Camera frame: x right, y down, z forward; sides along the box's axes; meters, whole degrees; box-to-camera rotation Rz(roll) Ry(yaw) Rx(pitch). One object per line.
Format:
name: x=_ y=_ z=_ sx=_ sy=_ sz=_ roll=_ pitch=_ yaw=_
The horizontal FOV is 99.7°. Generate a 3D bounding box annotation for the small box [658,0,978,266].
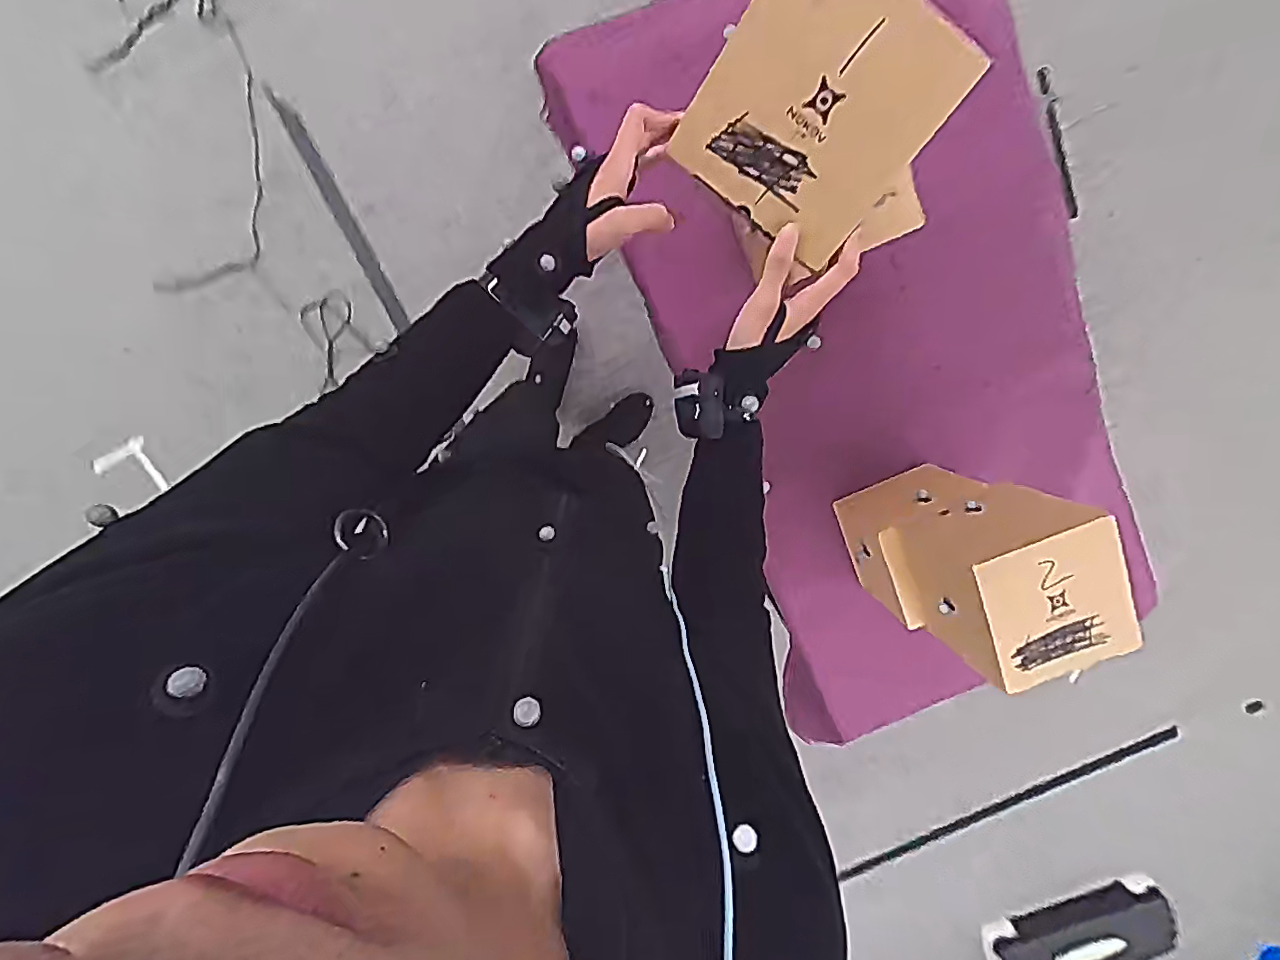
small box: x=0.140 y=-0.323 z=0.474 sx=0.168 sy=0.176 sz=0.179 roll=34 pitch=121 yaw=-10

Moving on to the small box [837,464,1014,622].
small box: x=0.432 y=0.089 z=0.852 sx=0.179 sy=0.176 sz=0.168 roll=-23 pitch=103 yaw=2

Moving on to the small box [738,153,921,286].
small box: x=0.237 y=-0.378 z=0.732 sx=0.179 sy=0.176 sz=0.168 roll=-22 pitch=104 yaw=2
